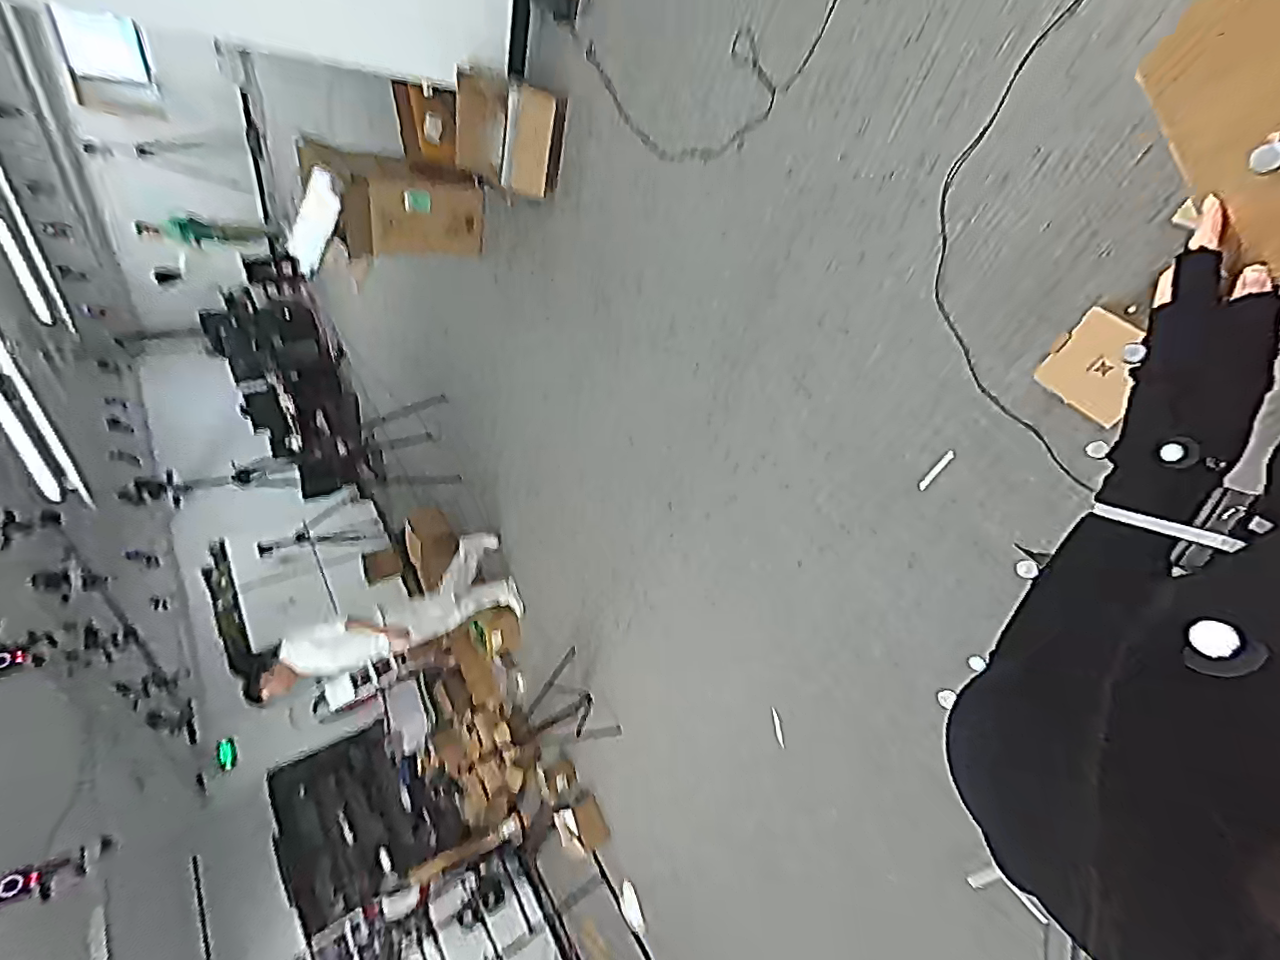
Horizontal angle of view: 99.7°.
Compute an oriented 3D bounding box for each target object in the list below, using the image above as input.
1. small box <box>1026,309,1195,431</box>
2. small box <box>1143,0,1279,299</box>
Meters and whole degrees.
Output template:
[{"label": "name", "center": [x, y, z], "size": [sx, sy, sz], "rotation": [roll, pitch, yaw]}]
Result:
[{"label": "small box", "center": [0.936, -0.225, 1.079], "size": [0.179, 0.176, 0.168], "rotation": [51, 140, 27]}, {"label": "small box", "center": [0.396, -0.211, 0.258], "size": [0.168, 0.179, 0.176], "rotation": [-24, 92, 28]}]
